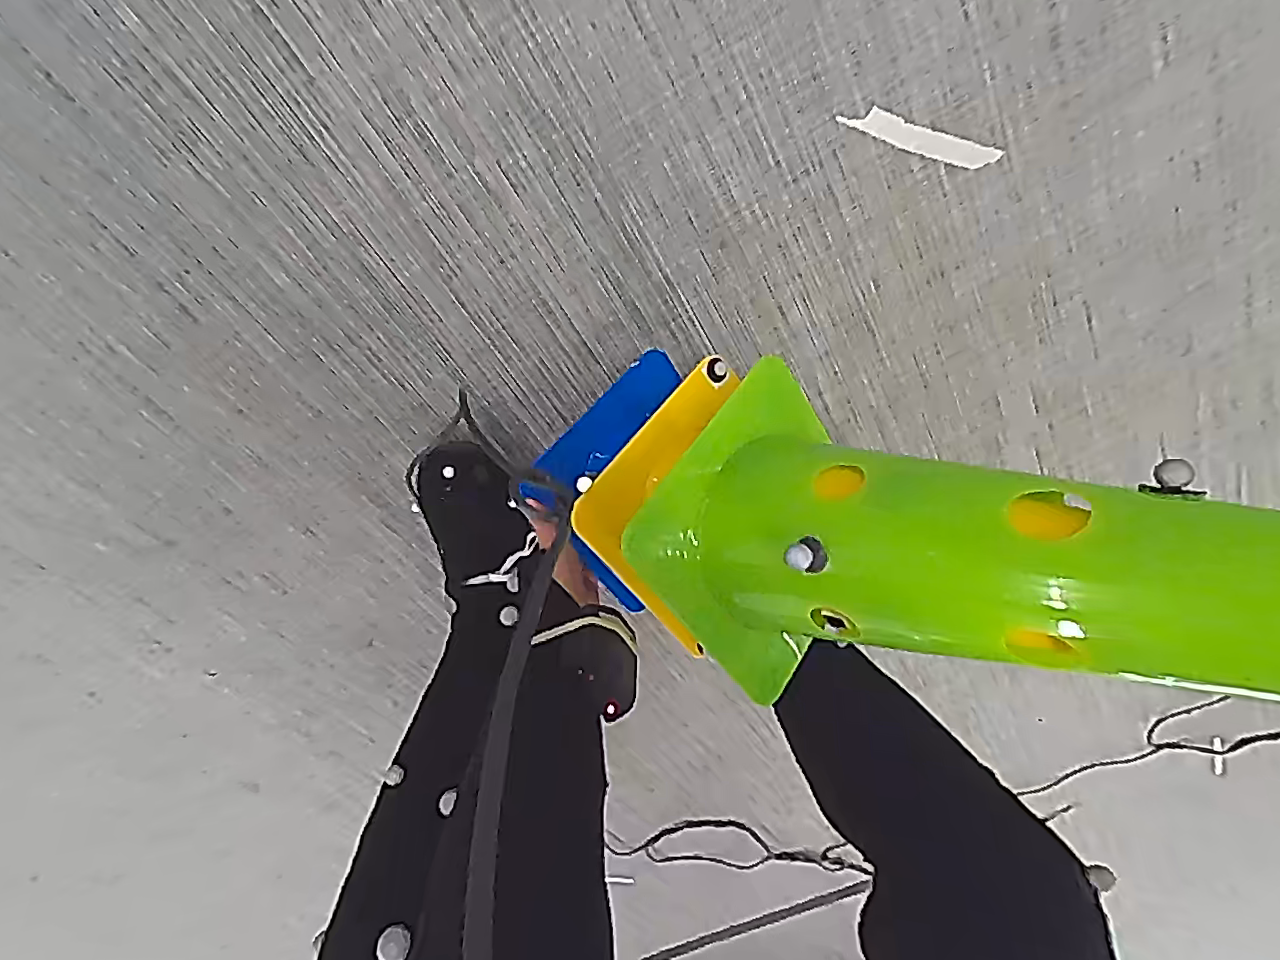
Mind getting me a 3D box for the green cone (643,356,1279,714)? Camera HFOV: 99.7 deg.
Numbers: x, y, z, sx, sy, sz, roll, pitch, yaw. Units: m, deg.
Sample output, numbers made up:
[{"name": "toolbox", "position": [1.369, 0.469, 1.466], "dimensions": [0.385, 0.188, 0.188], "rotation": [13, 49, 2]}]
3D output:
[{"name": "green cone", "position": [0.203, 0.044, 0.254], "dimensions": [0.200, 0.368, 0.202], "rotation": [49, 66, -25]}]
